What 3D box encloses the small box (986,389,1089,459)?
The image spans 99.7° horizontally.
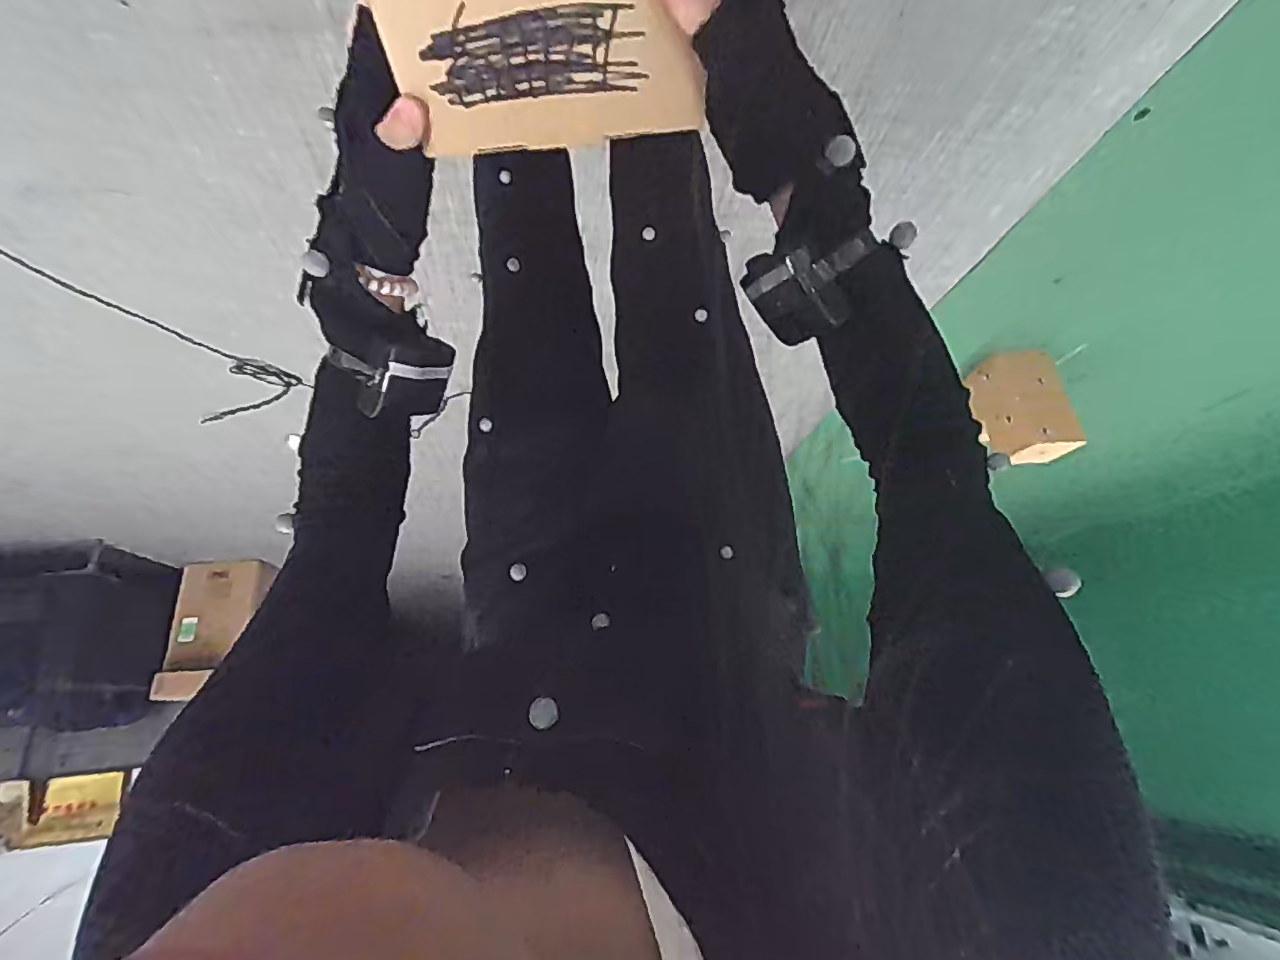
[{"bbox_3d":[1.242,-0.179,1.701,0.179,0.176,0.168,-3,160,-6],"label":"small box"}]
